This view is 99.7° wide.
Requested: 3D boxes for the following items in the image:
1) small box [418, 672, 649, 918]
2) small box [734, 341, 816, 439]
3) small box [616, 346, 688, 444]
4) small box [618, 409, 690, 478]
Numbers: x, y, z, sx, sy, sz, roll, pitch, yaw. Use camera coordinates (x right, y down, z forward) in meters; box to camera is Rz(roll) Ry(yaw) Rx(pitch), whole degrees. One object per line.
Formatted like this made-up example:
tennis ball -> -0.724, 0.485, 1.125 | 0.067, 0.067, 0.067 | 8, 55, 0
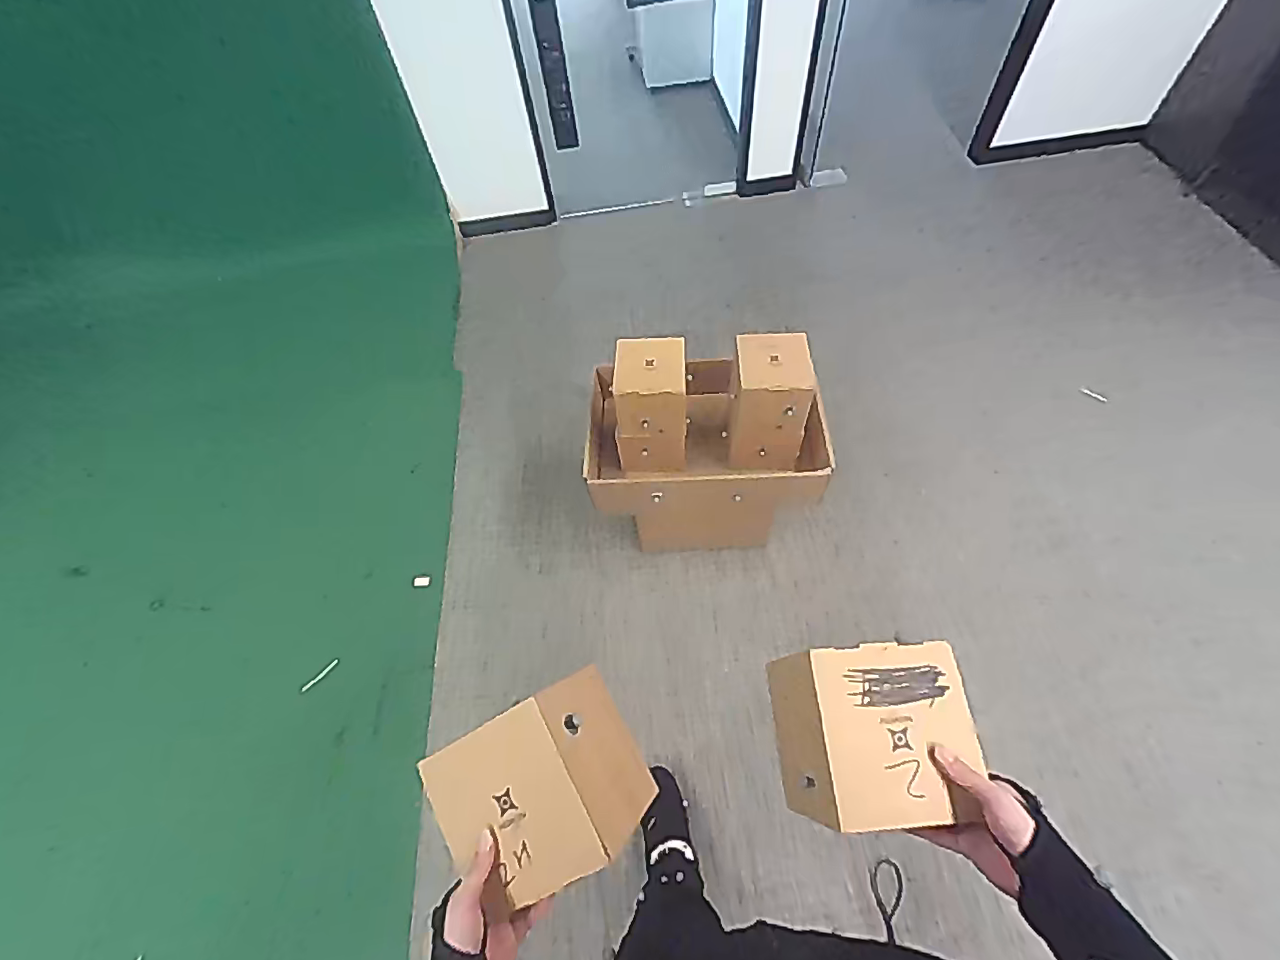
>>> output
small box -> -0.114, 0.342, 0.630 | 0.168, 0.176, 0.179 | -33, 74, 12
small box -> 0.318, -0.213, 1.307 | 0.168, 0.176, 0.179 | 0, 56, 4
small box -> 0.035, -0.208, 1.334 | 0.168, 0.176, 0.179 | 0, 57, 5
small box -> 0.043, -0.116, 1.468 | 0.179, 0.176, 0.168 | 0, 57, 7
